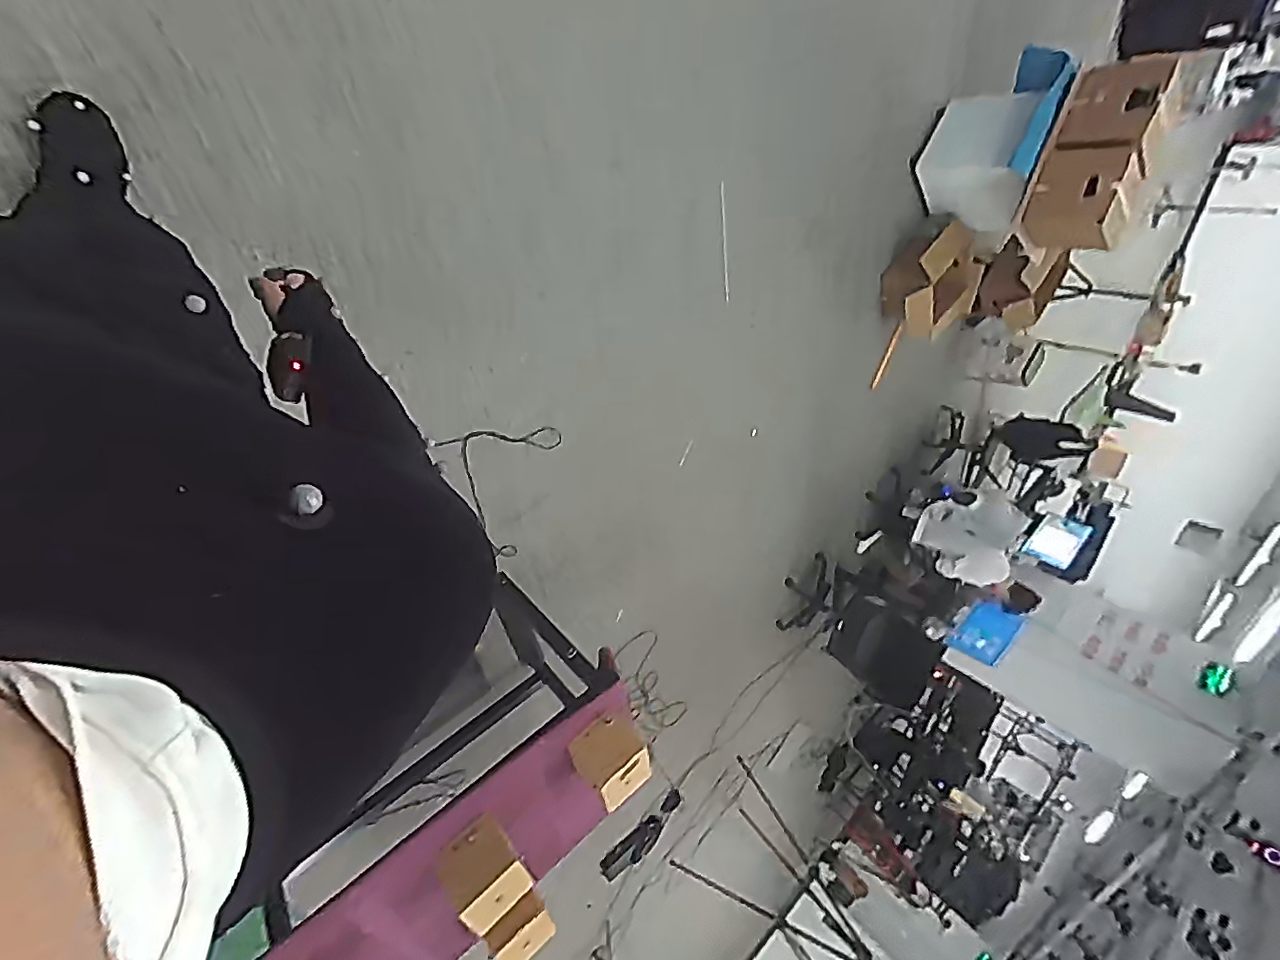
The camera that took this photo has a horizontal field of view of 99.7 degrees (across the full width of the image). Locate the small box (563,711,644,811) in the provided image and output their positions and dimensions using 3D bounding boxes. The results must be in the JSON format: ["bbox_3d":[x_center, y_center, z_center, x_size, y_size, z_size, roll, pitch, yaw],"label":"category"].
[{"bbox_3d":[-0.109,0.819,1.595,0.168,0.176,0.179,-30,133,-27],"label":"small box"}]

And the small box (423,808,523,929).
[{"bbox_3d":[-0.432,0.999,1.403,0.168,0.176,0.179,-31,132,-28],"label":"small box"}]

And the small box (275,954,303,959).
[{"bbox_3d":[-0.793,1.189,1.171,0.168,0.176,0.179,-30,131,-29],"label":"small box"}]

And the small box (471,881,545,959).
[{"bbox_3d":[-0.405,1.267,1.588,0.168,0.176,0.179,-28,128,-28],"label":"small box"}]
